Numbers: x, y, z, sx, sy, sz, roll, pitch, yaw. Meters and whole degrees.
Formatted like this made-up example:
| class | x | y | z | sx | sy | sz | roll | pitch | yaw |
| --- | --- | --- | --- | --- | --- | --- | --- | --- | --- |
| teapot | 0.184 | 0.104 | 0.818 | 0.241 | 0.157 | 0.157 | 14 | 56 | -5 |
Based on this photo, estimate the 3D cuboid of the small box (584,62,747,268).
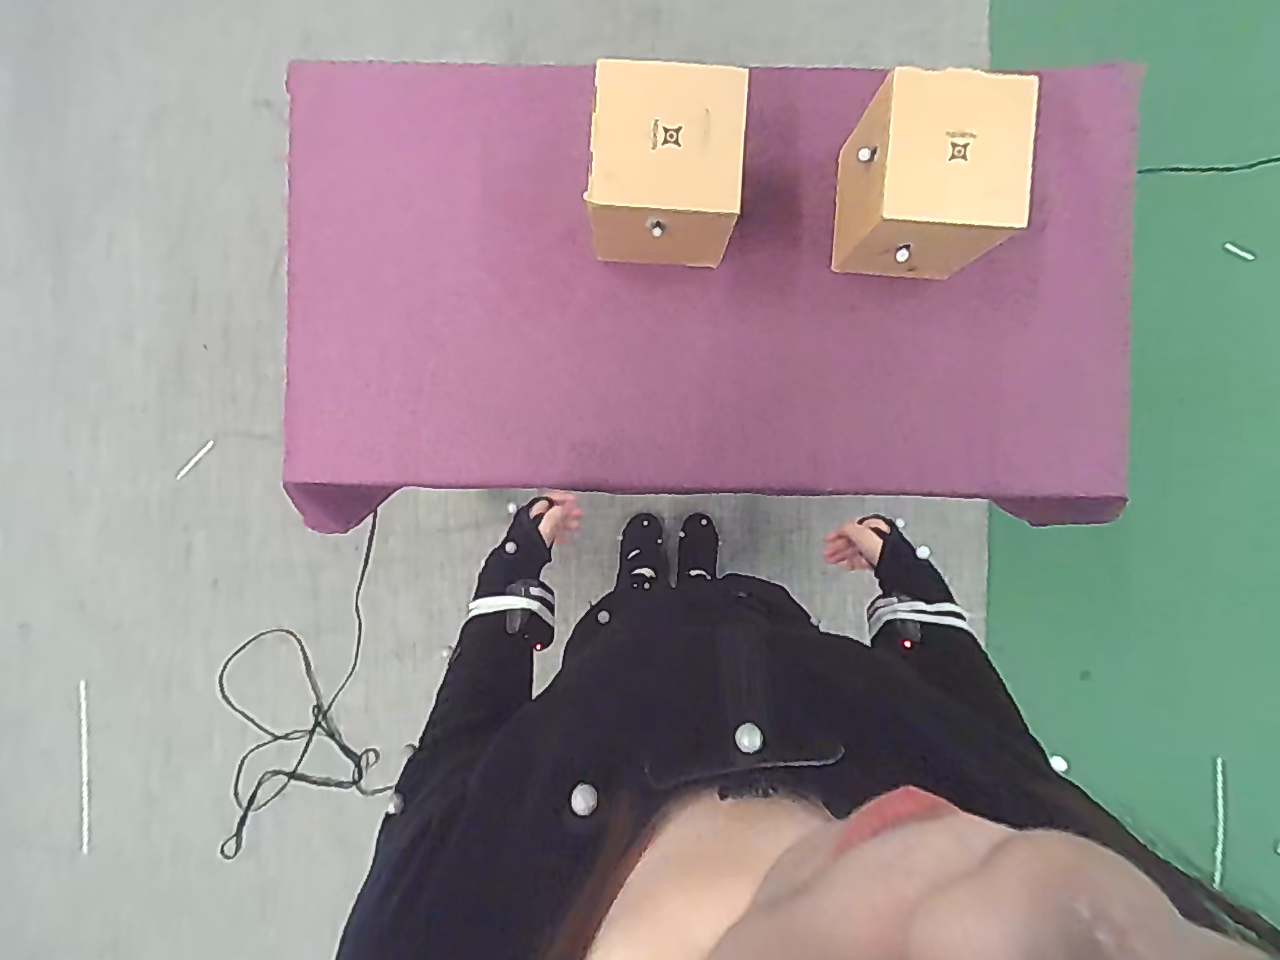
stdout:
| class | x | y | z | sx | sy | sz | roll | pitch | yaw |
| --- | --- | --- | --- | --- | --- | --- | --- | --- | --- |
| small box | 0.030 | -0.387 | 0.693 | 0.179 | 0.176 | 0.168 | 4 | 91 | 0 |

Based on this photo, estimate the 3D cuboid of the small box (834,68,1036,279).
| class | x | y | z | sx | sy | sz | roll | pitch | yaw |
| --- | --- | --- | --- | --- | --- | --- | --- | --- | --- |
| small box | 0.358 | -0.373 | 0.688 | 0.168 | 0.176 | 0.179 | 4 | 89 | 1 |
